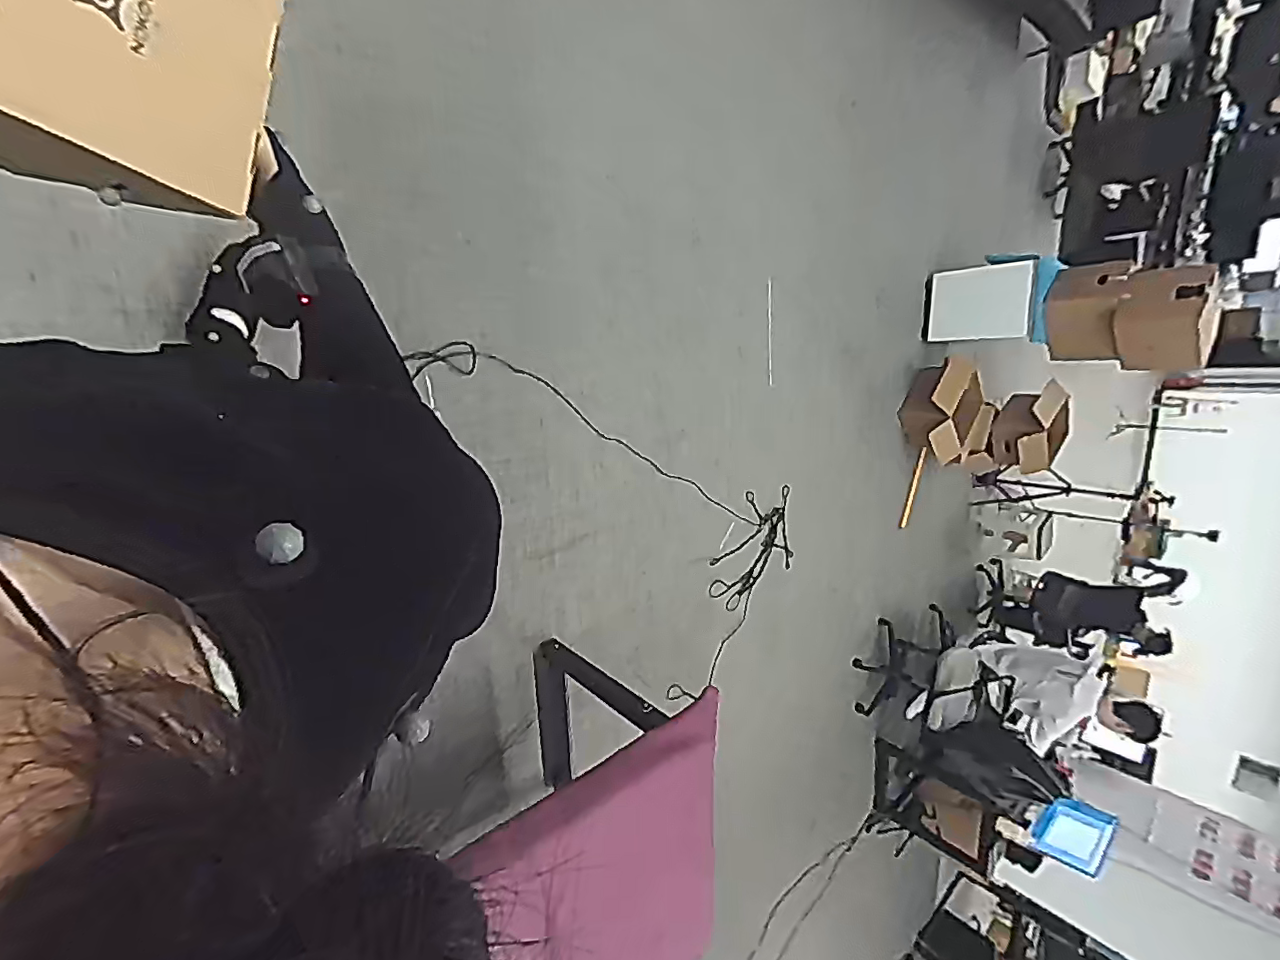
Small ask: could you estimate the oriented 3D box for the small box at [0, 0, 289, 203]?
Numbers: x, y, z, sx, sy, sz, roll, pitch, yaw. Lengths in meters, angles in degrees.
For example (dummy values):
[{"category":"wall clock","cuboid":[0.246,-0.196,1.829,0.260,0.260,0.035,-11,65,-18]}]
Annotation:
[{"category":"small box","cuboid":[-0.357,-0.293,0.318,0.179,0.176,0.168,5,100,-68]}]
